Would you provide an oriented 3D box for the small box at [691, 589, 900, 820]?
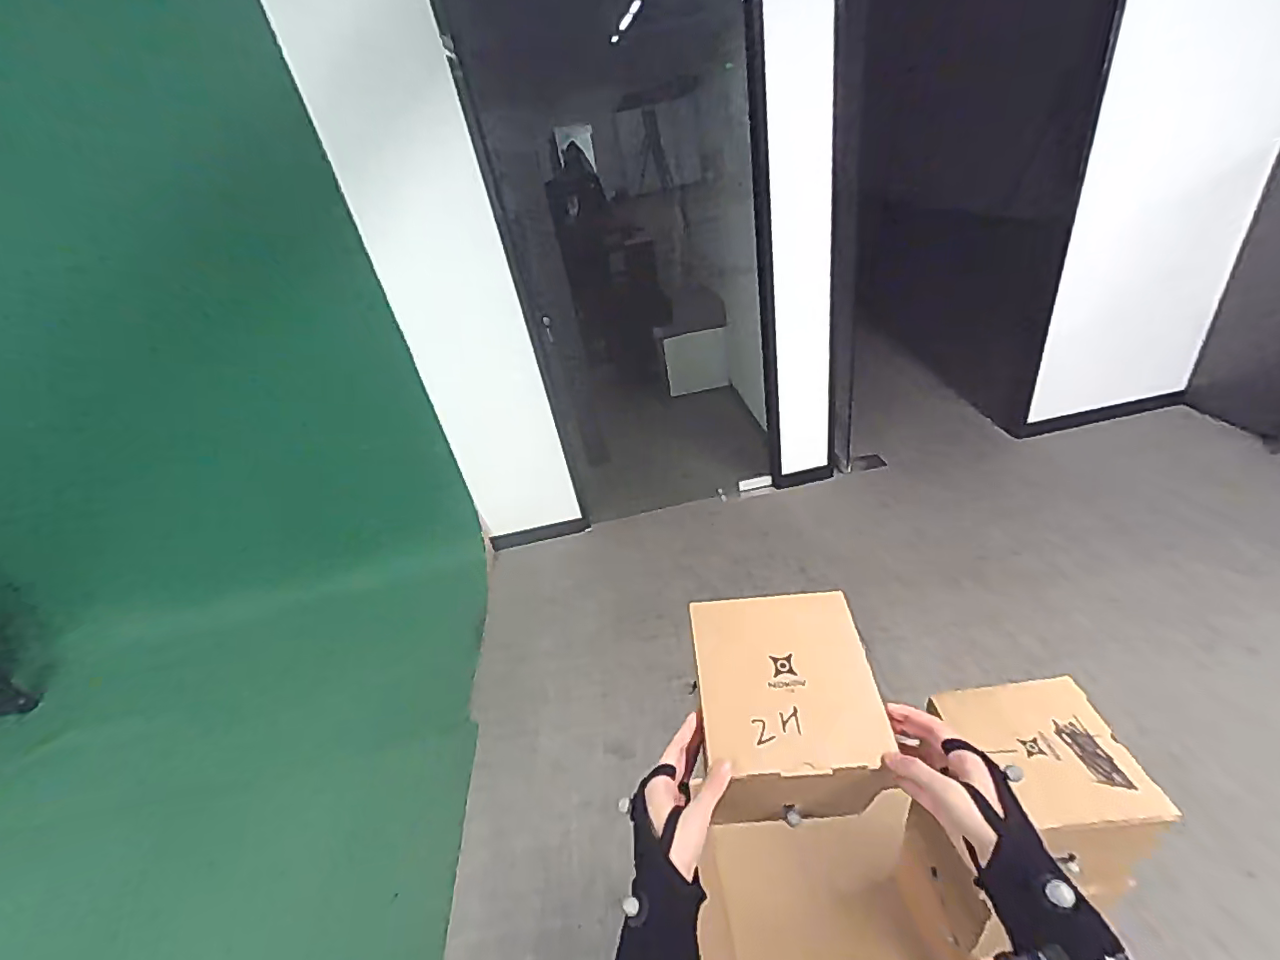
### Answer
[{"bbox_3d":[0.142,0.238,0.573,0.168,0.176,0.179,-5,46,2],"label":"small box"}]

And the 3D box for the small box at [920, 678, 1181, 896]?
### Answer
[{"bbox_3d":[0.465,0.367,0.650,0.179,0.176,0.168,-10,33,5],"label":"small box"}]
